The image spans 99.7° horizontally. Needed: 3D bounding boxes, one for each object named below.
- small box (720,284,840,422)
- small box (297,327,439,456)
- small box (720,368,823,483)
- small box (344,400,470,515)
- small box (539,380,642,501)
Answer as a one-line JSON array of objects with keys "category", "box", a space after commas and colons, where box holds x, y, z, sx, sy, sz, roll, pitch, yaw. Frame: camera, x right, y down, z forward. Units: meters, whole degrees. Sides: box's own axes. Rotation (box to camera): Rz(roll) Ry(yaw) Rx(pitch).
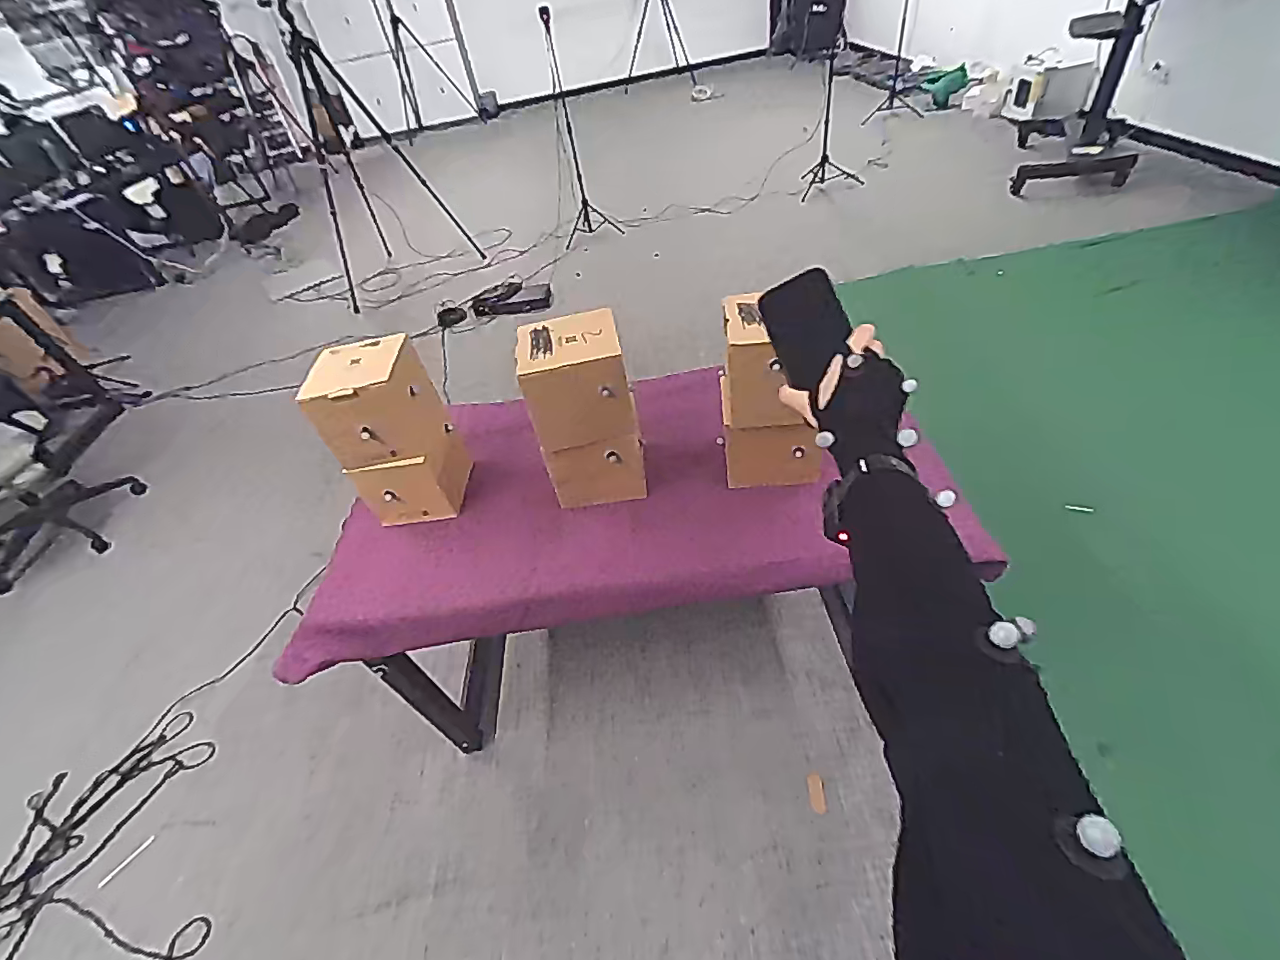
[{"category": "small box", "box": [0.232, -0.213, 0.926, 0.179, 0.176, 0.168, -3, 45, 9]}, {"category": "small box", "box": [-0.501, -0.161, 1.029, 0.168, 0.176, 0.179, -10, 45, 1]}, {"category": "small box", "box": [0.248, -0.109, 1.053, 0.179, 0.176, 0.168, -3, 45, 10]}, {"category": "small box", "box": [-0.476, -0.041, 1.139, 0.168, 0.176, 0.179, -7, 45, 5]}, {"category": "small box", "box": [-0.089, -0.076, 1.090, 0.179, 0.176, 0.168, -7, 45, 5]}]
